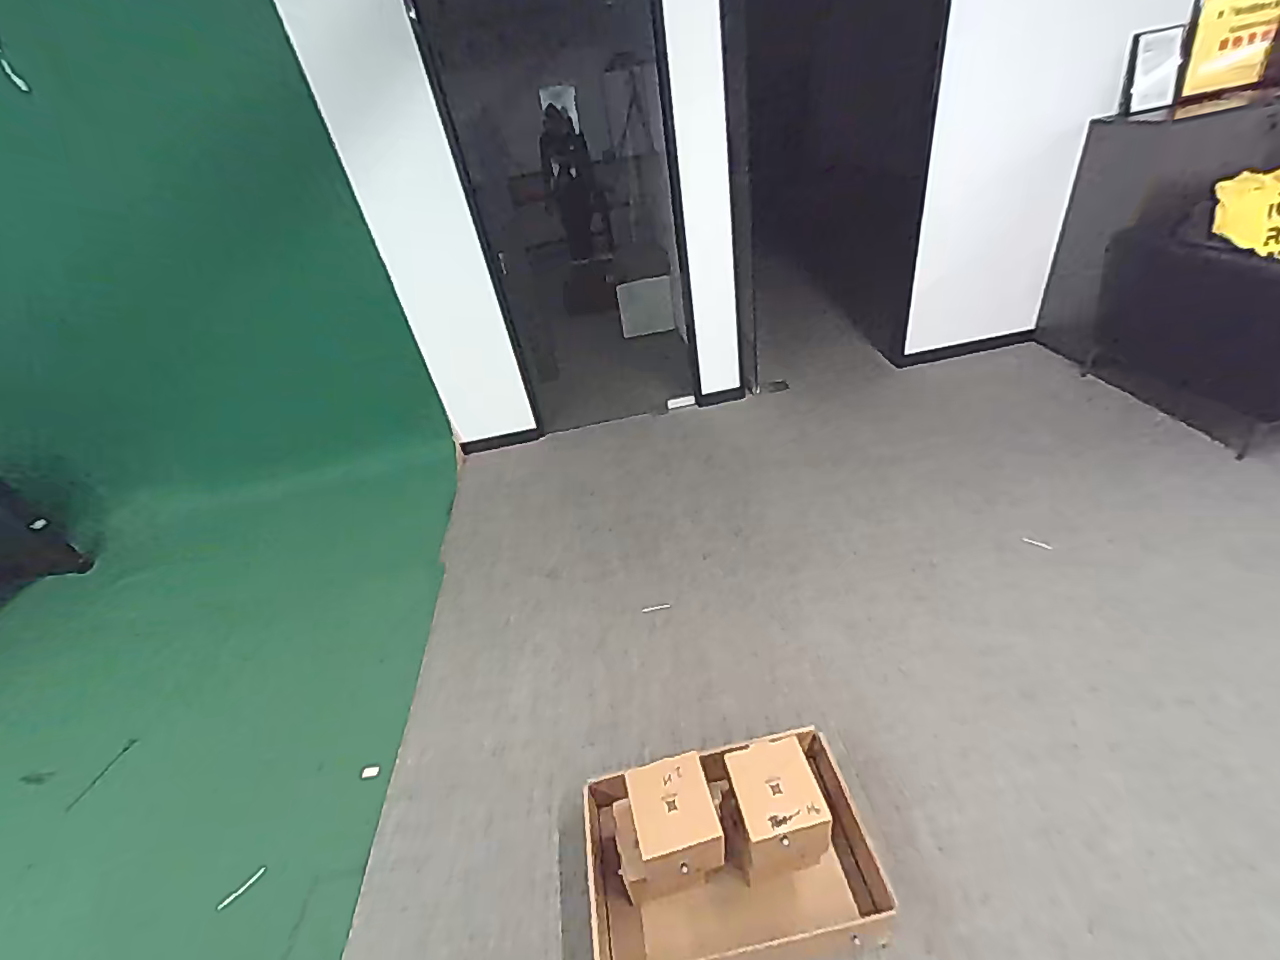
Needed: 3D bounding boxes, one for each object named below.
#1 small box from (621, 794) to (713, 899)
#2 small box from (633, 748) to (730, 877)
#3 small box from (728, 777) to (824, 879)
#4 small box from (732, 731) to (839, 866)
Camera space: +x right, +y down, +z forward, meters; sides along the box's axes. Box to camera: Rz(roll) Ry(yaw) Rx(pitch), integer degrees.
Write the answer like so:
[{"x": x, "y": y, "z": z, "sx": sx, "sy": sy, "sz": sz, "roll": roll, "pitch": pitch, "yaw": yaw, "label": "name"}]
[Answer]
[{"x": 0.065, "y": 0.848, "z": 1.272, "sx": 0.179, "sy": 0.176, "sz": 0.168, "roll": -13, "pitch": 37, "yaw": -5, "label": "small box"}, {"x": 0.090, "y": 0.719, "z": 1.163, "sx": 0.168, "sy": 0.176, "sz": 0.179, "roll": -13, "pitch": 38, "yaw": -7, "label": "small box"}, {"x": 0.323, "y": 0.795, "z": 1.269, "sx": 0.179, "sy": 0.176, "sz": 0.168, "roll": -17, "pitch": 37, "yaw": -6, "label": "small box"}, {"x": 0.306, "y": 0.677, "z": 1.153, "sx": 0.168, "sy": 0.176, "sz": 0.179, "roll": -16, "pitch": 36, "yaw": -2, "label": "small box"}]
